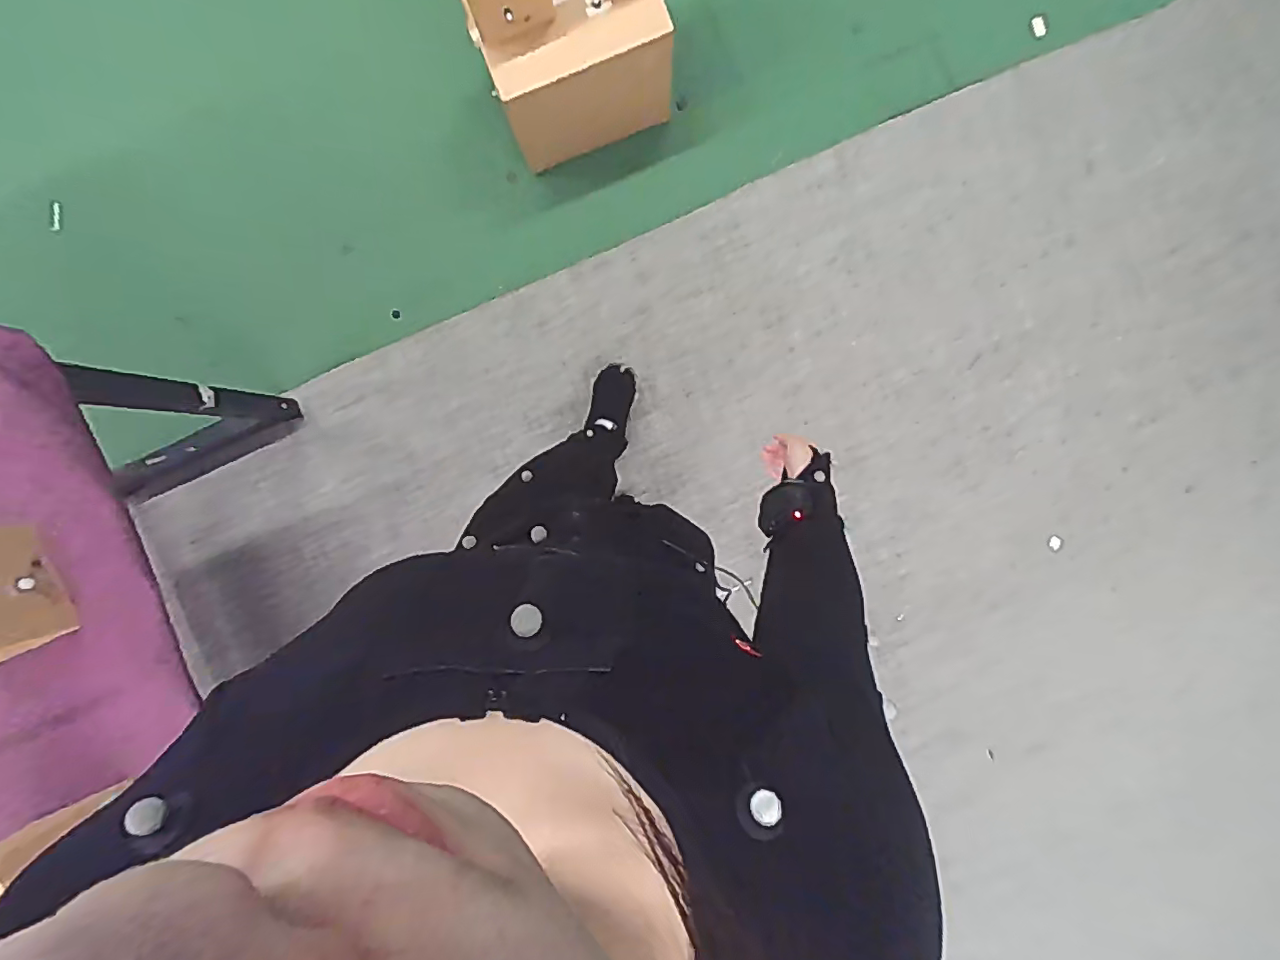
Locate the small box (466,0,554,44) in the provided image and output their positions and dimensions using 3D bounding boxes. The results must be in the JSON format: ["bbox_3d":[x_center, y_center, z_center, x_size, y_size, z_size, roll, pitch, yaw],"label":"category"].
[{"bbox_3d":[-0.283,-1.022,1.058,0.168,0.176,0.179,-21,91,1],"label":"small box"}]

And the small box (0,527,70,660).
[{"bbox_3d":[-0.915,0.173,0.690,0.179,0.176,0.168,-23,92,1],"label":"small box"}]

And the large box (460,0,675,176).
[{"bbox_3d":[-0.163,-1.023,1.299,0.408,0.320,0.320,-22,92,1],"label":"large box"}]

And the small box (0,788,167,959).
[{"bbox_3d":[-0.787,0.546,0.699,0.179,0.176,0.168,-24,92,3],"label":"small box"}]
